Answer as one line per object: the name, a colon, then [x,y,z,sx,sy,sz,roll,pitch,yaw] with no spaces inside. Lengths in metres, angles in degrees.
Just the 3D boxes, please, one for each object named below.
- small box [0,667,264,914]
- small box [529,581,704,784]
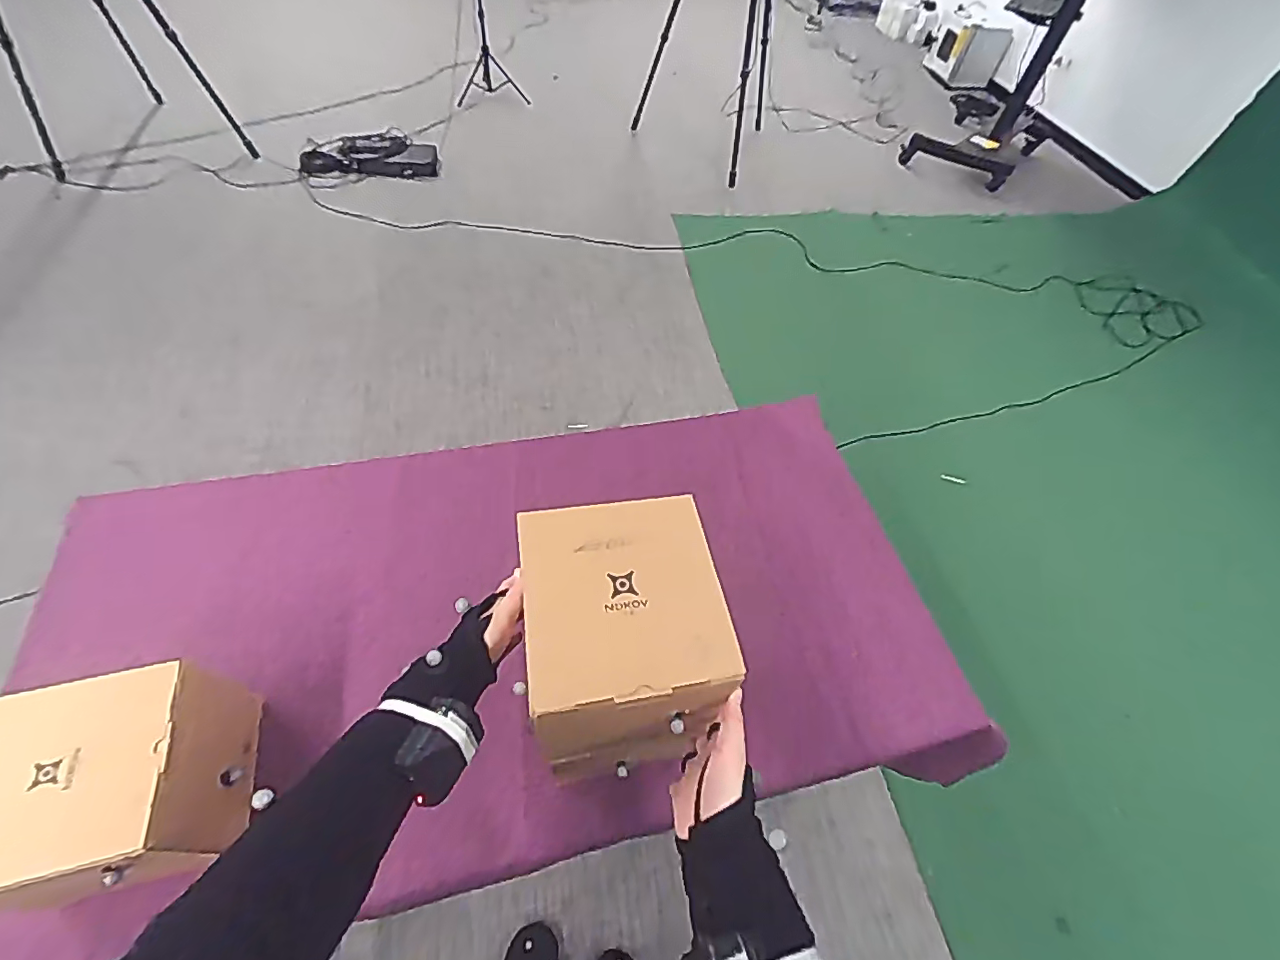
small box: [-0.524,0.314,0.546,0.179,0.176,0.168,-10,55,-14]
small box: [-0.035,0.246,0.642,0.168,0.176,0.179,-7,54,-11]
